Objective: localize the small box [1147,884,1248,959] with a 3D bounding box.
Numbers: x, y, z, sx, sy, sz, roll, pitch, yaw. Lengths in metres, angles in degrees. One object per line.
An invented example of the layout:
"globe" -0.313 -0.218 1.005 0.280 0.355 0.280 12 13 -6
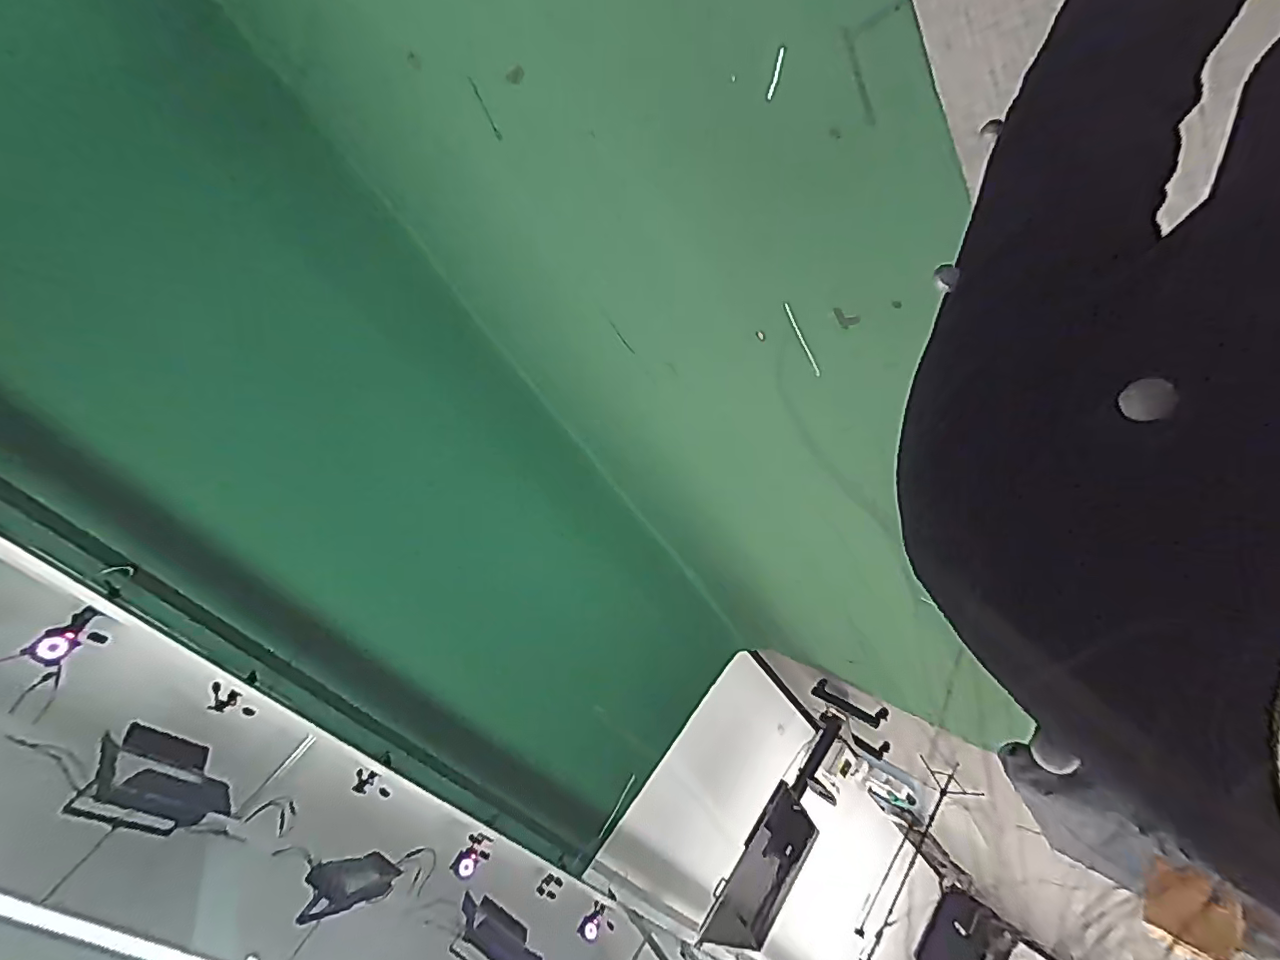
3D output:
"small box" 1.514 1.252 1.469 0.168 0.176 0.179 9 143 55
